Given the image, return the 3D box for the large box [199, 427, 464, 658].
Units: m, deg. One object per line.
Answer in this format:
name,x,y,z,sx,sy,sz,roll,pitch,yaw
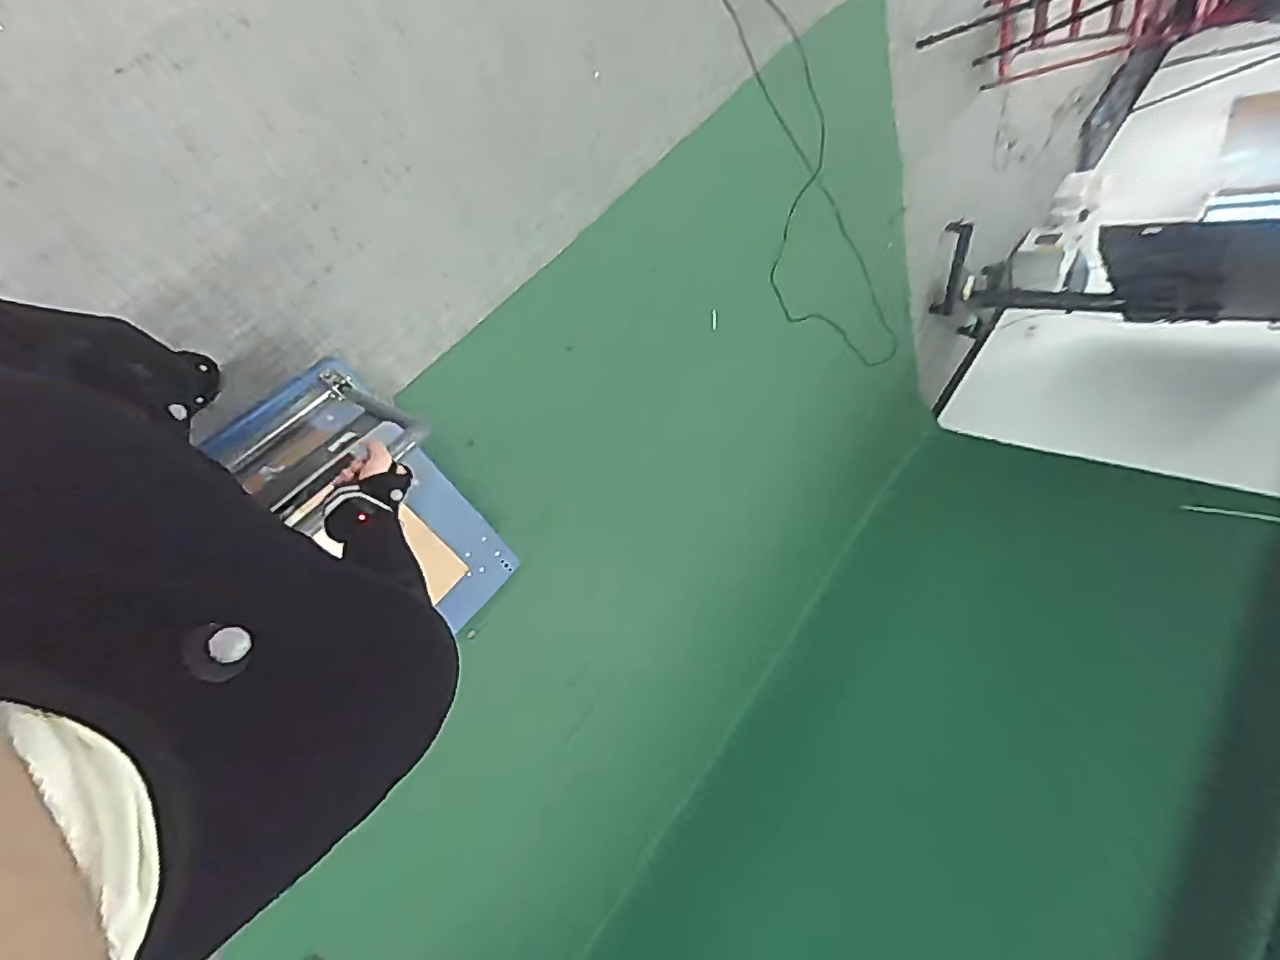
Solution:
large box,-0.712,0.141,1.279,0.320,0.320,0.408,-47,134,-20
